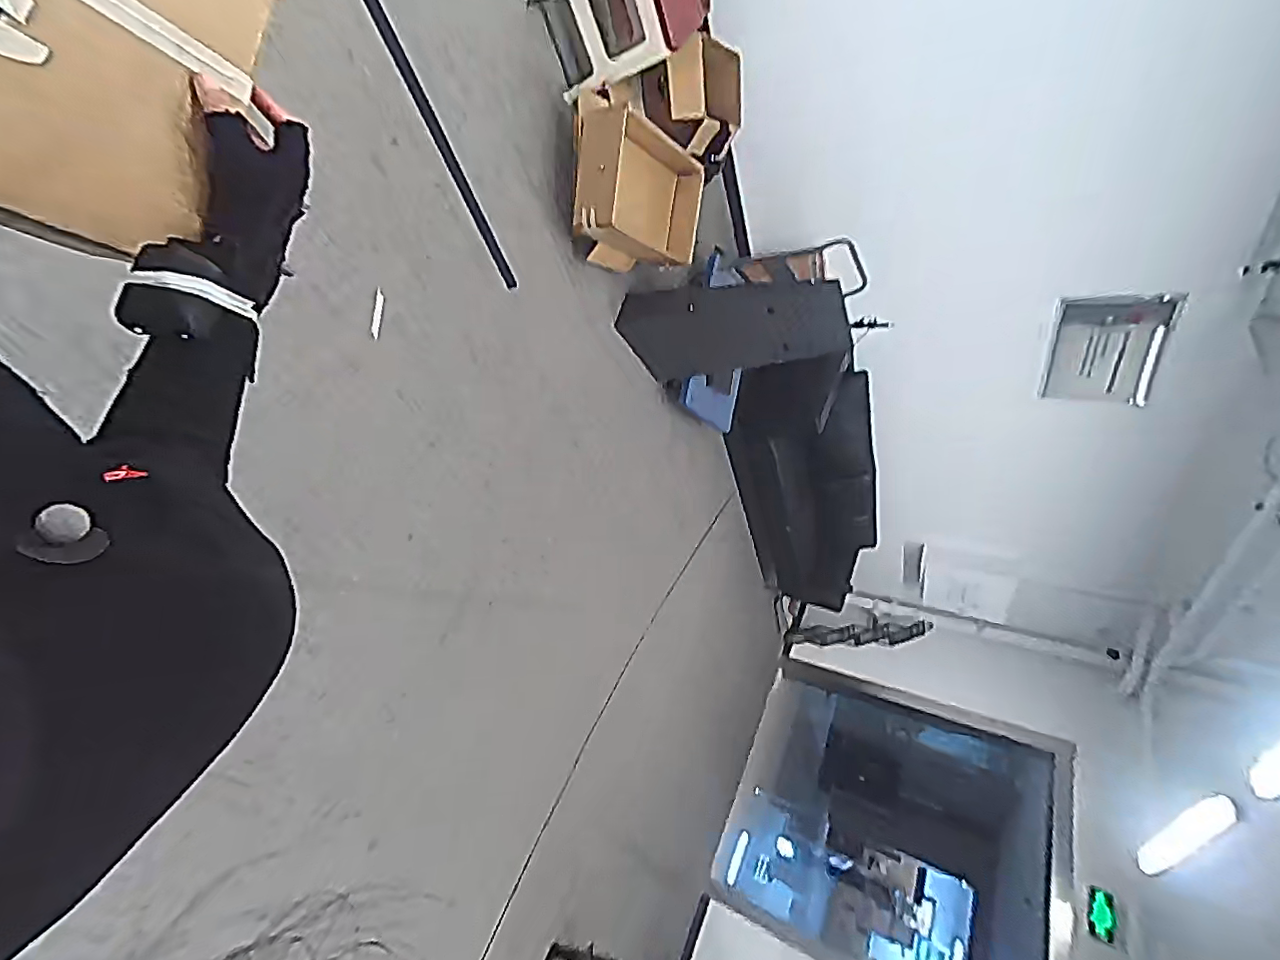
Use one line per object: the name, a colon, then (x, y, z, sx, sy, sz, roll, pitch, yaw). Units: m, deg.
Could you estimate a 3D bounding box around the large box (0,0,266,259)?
large box: (-0.551, -0.392, 0.355, 0.408, 0.320, 0.320, 14, 96, -59)
